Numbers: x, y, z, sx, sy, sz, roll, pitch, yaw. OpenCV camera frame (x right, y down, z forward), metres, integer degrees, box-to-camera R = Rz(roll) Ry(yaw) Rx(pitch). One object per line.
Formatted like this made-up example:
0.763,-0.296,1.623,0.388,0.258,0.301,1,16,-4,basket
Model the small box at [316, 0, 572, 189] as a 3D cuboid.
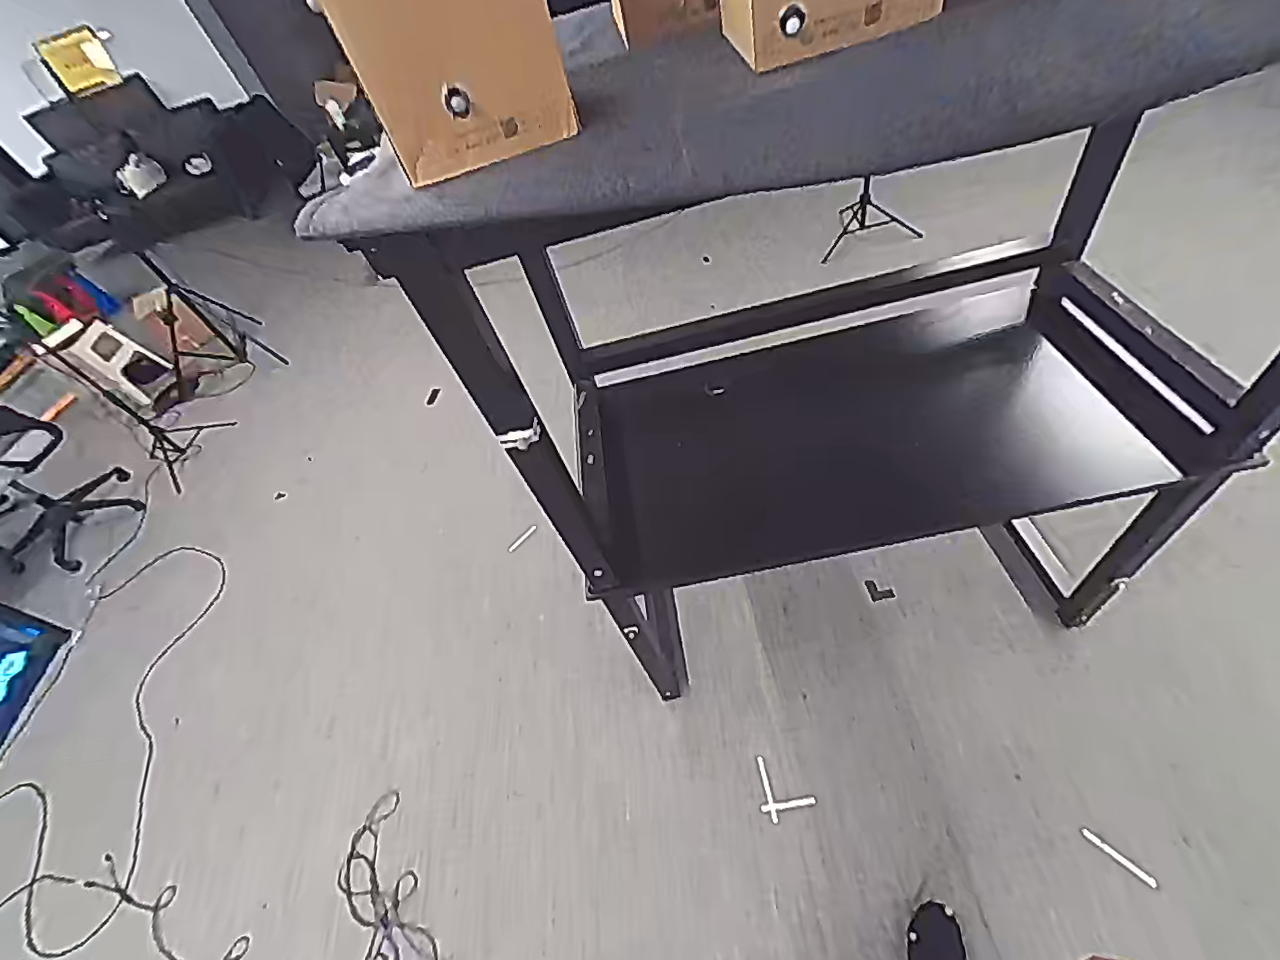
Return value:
-0.175,-0.401,0.499,0.168,0.176,0.179,-20,50,-1,small box
